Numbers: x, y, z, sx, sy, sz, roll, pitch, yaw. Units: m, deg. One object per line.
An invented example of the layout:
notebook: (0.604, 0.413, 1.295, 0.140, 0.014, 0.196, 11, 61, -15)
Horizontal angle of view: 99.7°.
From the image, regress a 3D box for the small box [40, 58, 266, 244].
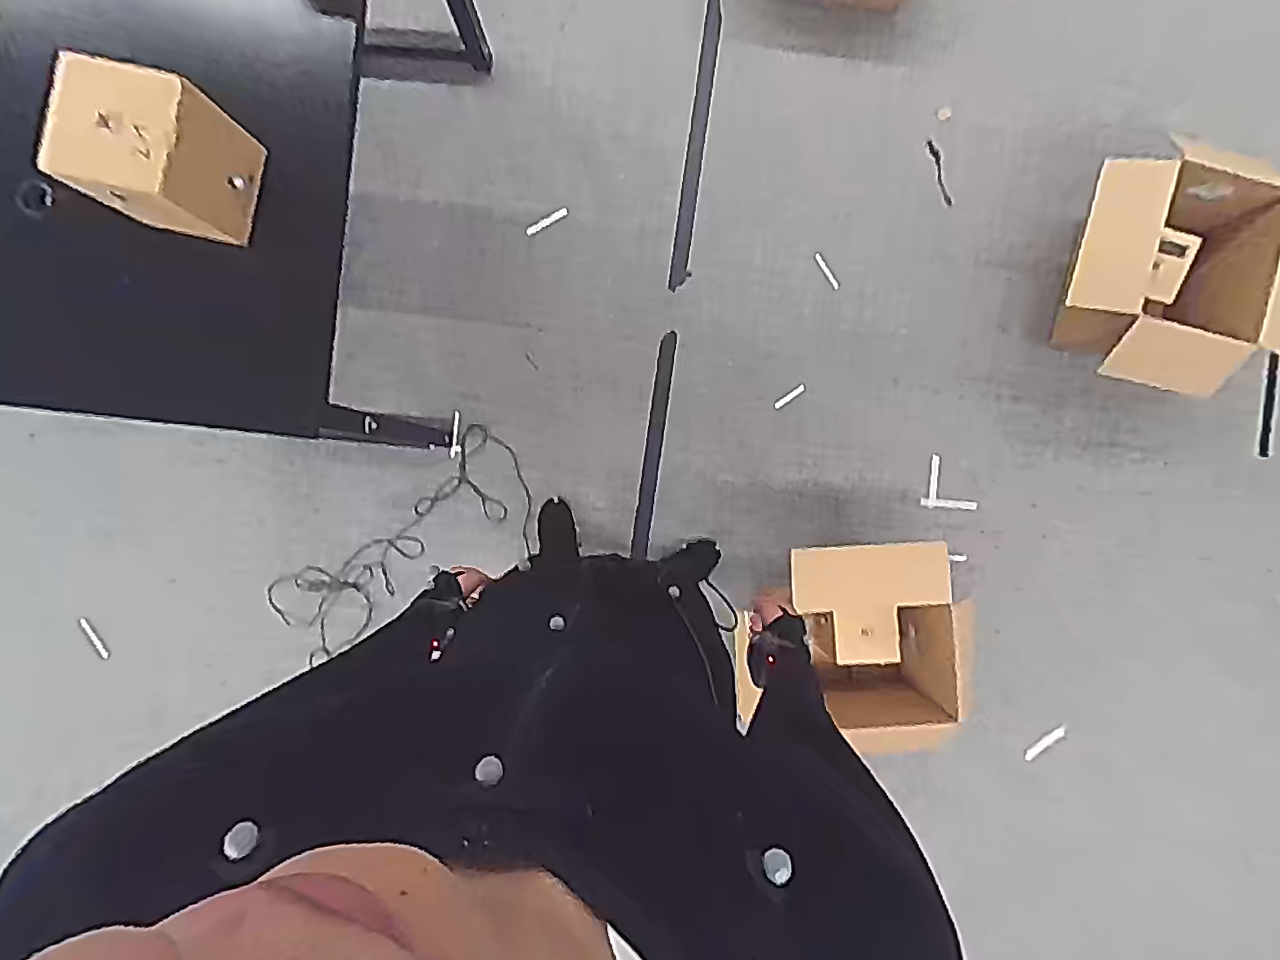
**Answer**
small box: (-0.722, -0.484, 0.820, 0.179, 0.176, 0.168, 12, 91, 0)
